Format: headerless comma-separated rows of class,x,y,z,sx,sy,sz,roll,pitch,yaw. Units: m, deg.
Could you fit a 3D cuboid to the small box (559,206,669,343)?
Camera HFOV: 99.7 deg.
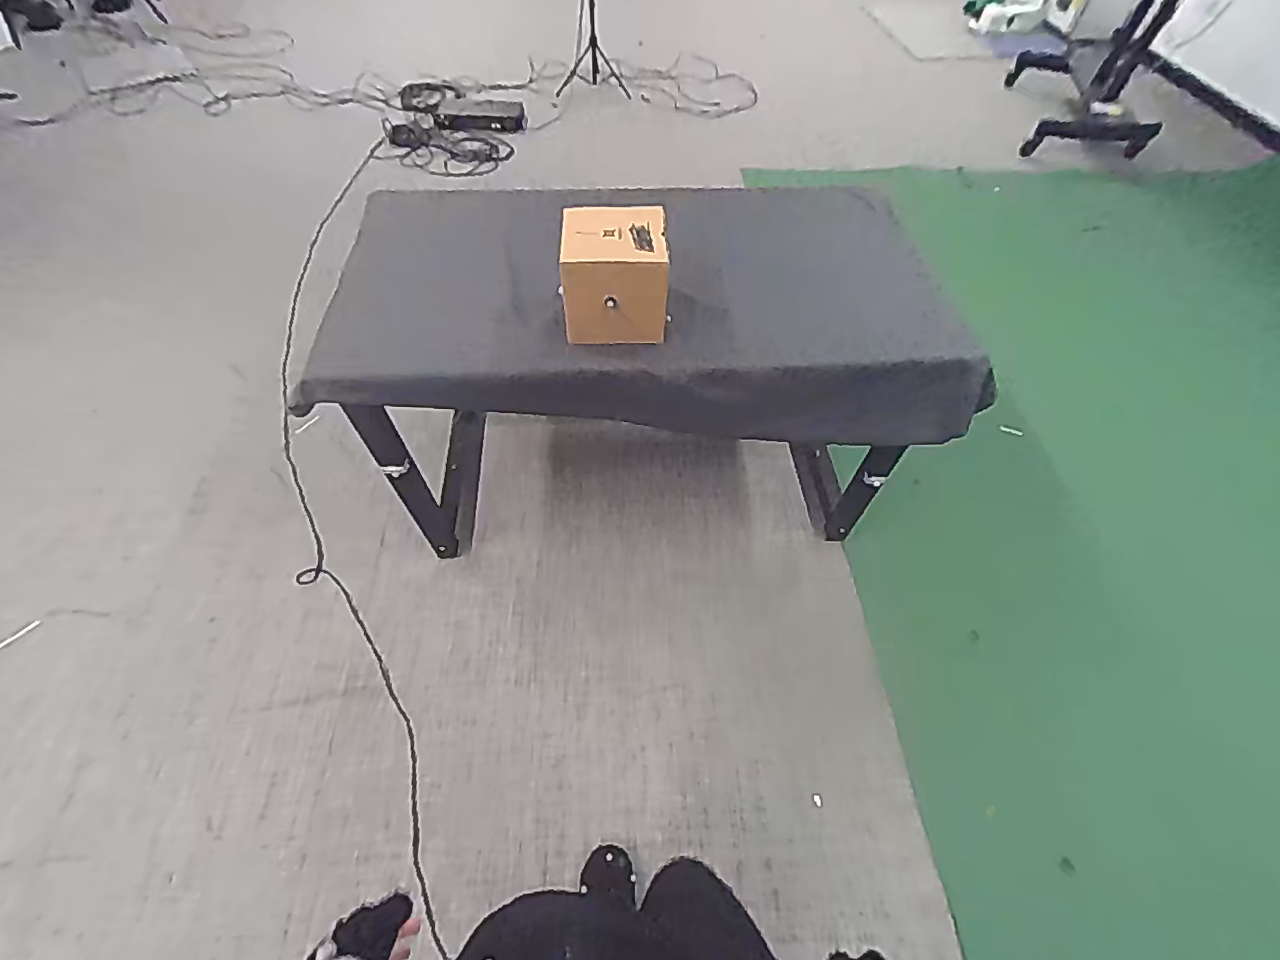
small box,-0.042,-0.362,0.966,0.179,0.176,0.168,2,53,0
